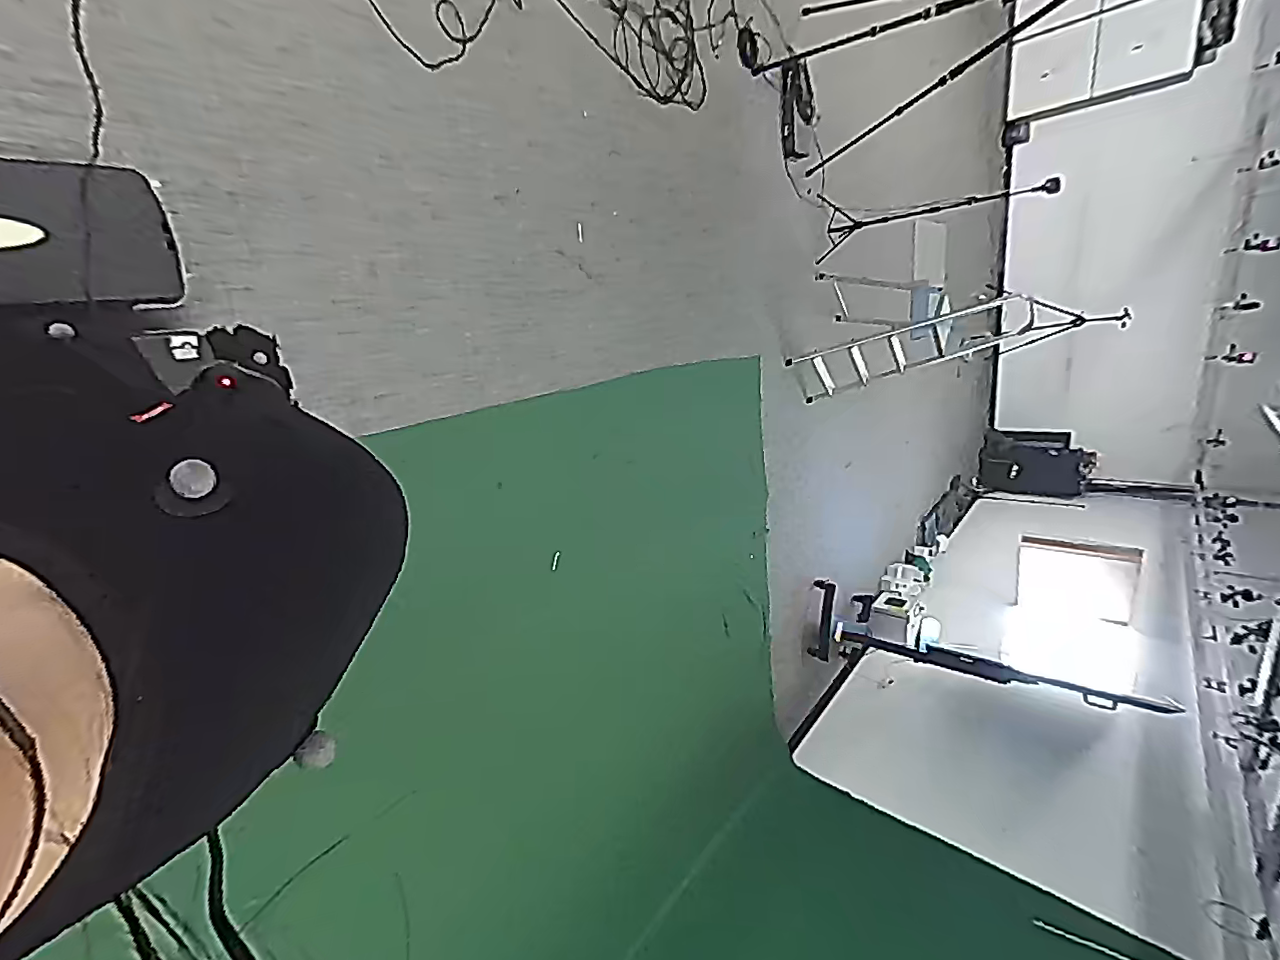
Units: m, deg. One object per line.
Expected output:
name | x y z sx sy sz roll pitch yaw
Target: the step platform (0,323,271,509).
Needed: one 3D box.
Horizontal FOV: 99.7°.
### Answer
step platform | -1.076 -0.096 0.940 0.684 0.204 0.286 -24 113 -45
